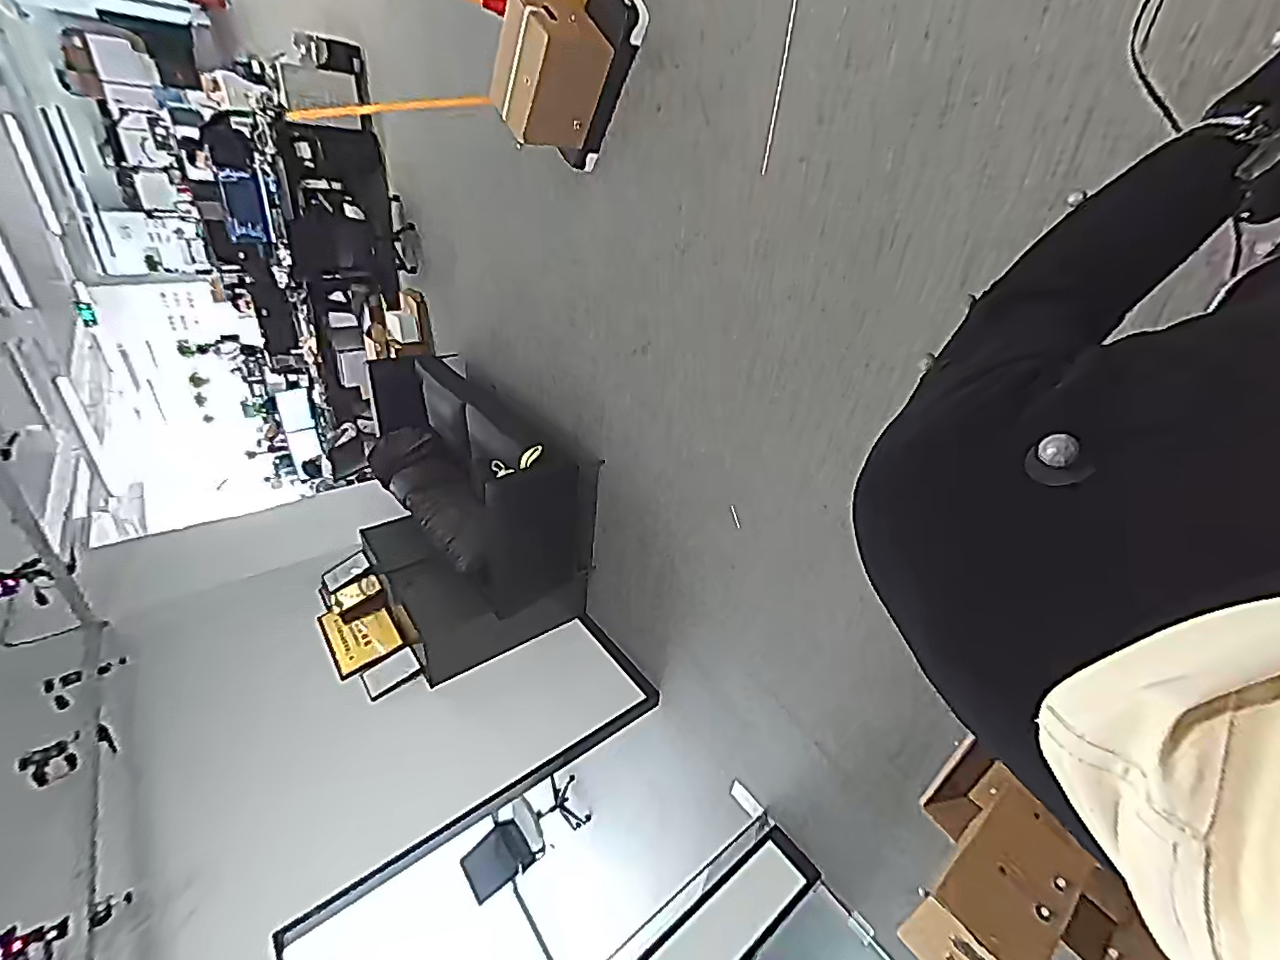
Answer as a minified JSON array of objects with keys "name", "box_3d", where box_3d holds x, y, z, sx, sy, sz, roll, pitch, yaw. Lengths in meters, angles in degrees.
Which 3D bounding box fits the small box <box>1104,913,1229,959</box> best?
[{"name":"small box","box_3d":[0.897,0.873,0.895,0.179,0.176,0.168,37,132,42]}]

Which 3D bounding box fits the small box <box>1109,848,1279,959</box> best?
[{"name":"small box","box_3d":[1.026,0.833,0.988,0.179,0.176,0.168,39,133,41]}]

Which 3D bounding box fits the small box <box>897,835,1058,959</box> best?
[{"name":"small box","box_3d":[0.606,0.791,0.971,0.168,0.176,0.179,39,134,39]}]
